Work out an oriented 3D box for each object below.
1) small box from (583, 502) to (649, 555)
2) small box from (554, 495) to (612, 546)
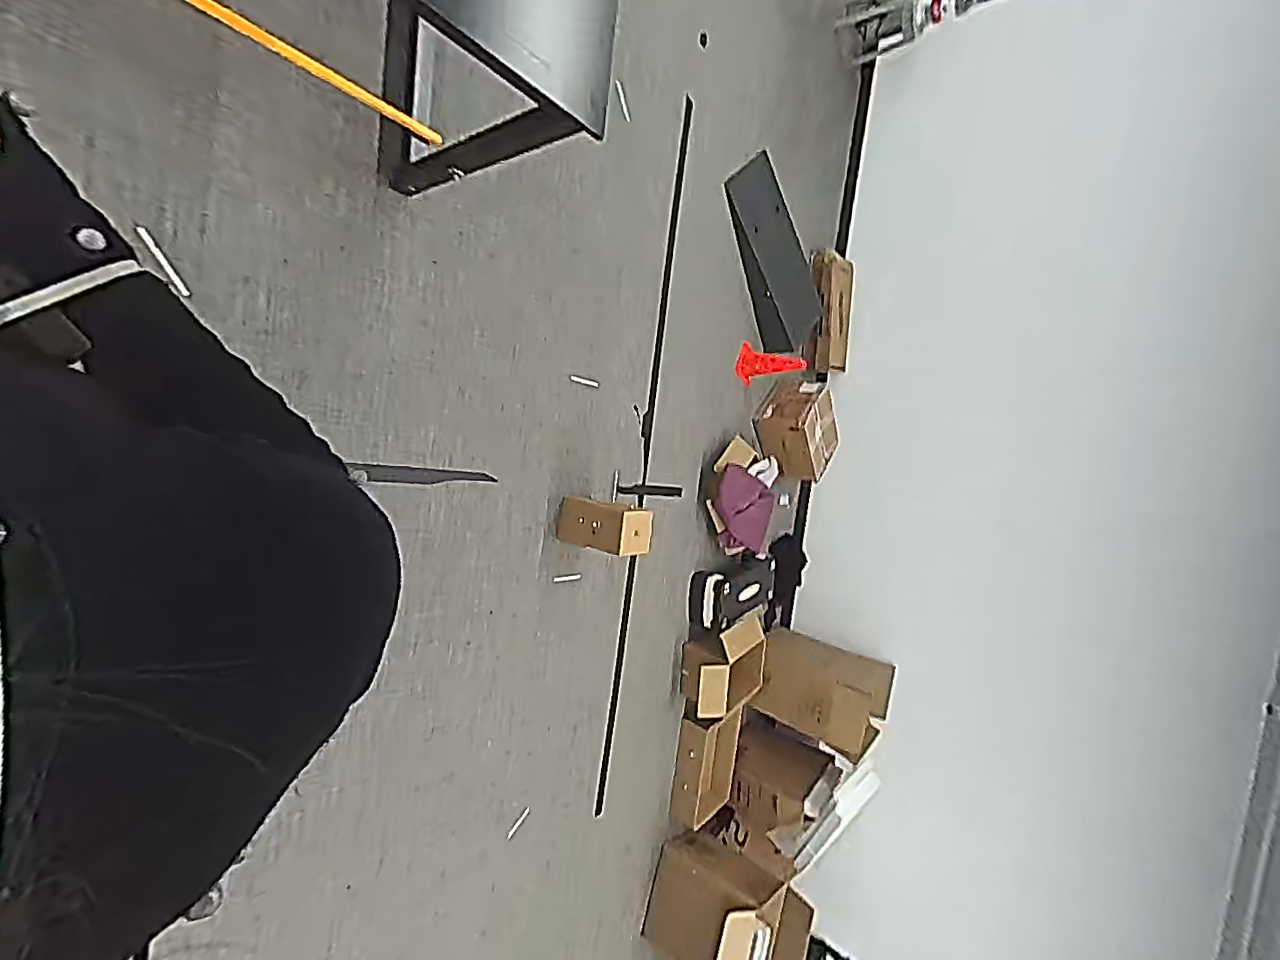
[{"bbox_3d":[-0.091,0.178,2.047,0.179,0.176,0.168,0,97,-51],"label":"small box"},{"bbox_3d":[-0.219,0.161,2.145,0.168,0.176,0.179,8,93,-52],"label":"small box"}]
